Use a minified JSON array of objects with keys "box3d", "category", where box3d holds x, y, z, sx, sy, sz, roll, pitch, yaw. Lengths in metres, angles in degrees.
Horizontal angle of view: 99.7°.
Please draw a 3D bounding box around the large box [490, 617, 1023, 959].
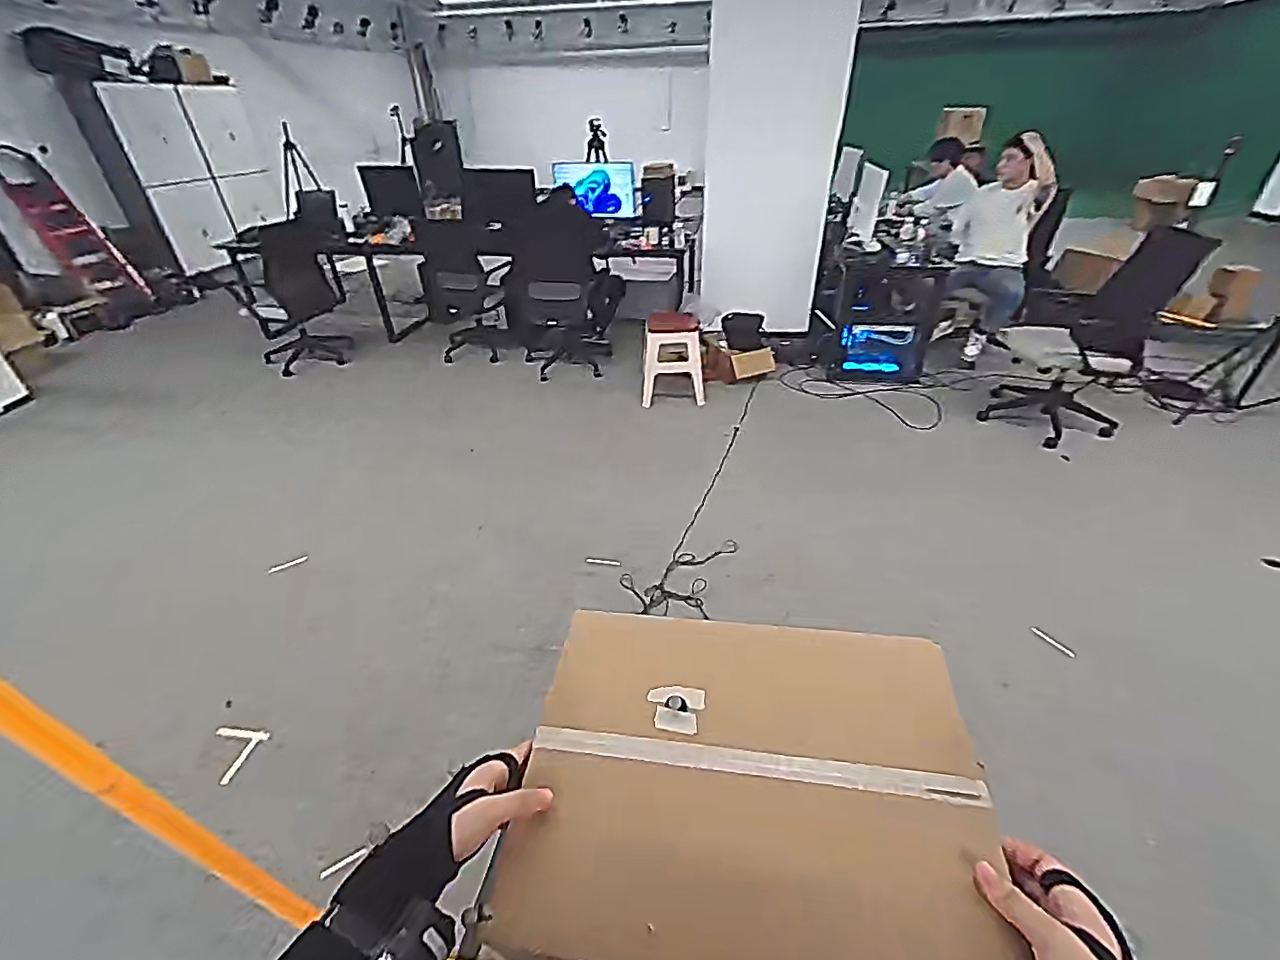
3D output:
[{"box3d":[0.115,0.378,0.602,0.408,0.320,0.320,0,39,12],"category":"large box"}]
